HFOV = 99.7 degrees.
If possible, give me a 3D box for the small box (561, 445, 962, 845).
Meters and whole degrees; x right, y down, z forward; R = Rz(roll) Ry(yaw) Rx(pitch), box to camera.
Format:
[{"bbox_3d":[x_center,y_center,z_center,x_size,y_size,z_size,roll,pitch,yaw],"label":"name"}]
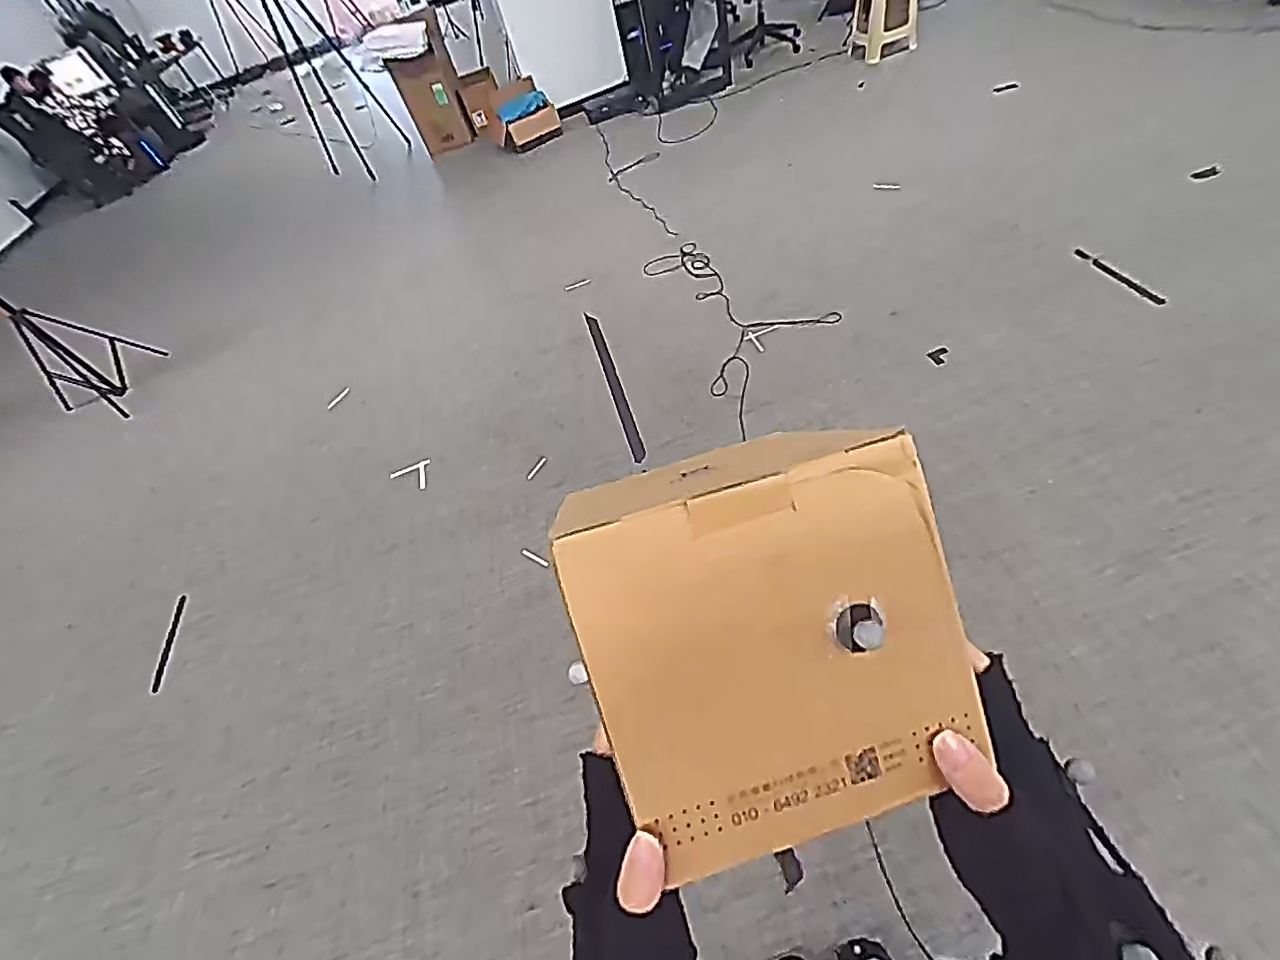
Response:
[{"bbox_3d":[0.060,0.084,0.335,0.168,0.176,0.179,-17,5,-2],"label":"small box"}]
